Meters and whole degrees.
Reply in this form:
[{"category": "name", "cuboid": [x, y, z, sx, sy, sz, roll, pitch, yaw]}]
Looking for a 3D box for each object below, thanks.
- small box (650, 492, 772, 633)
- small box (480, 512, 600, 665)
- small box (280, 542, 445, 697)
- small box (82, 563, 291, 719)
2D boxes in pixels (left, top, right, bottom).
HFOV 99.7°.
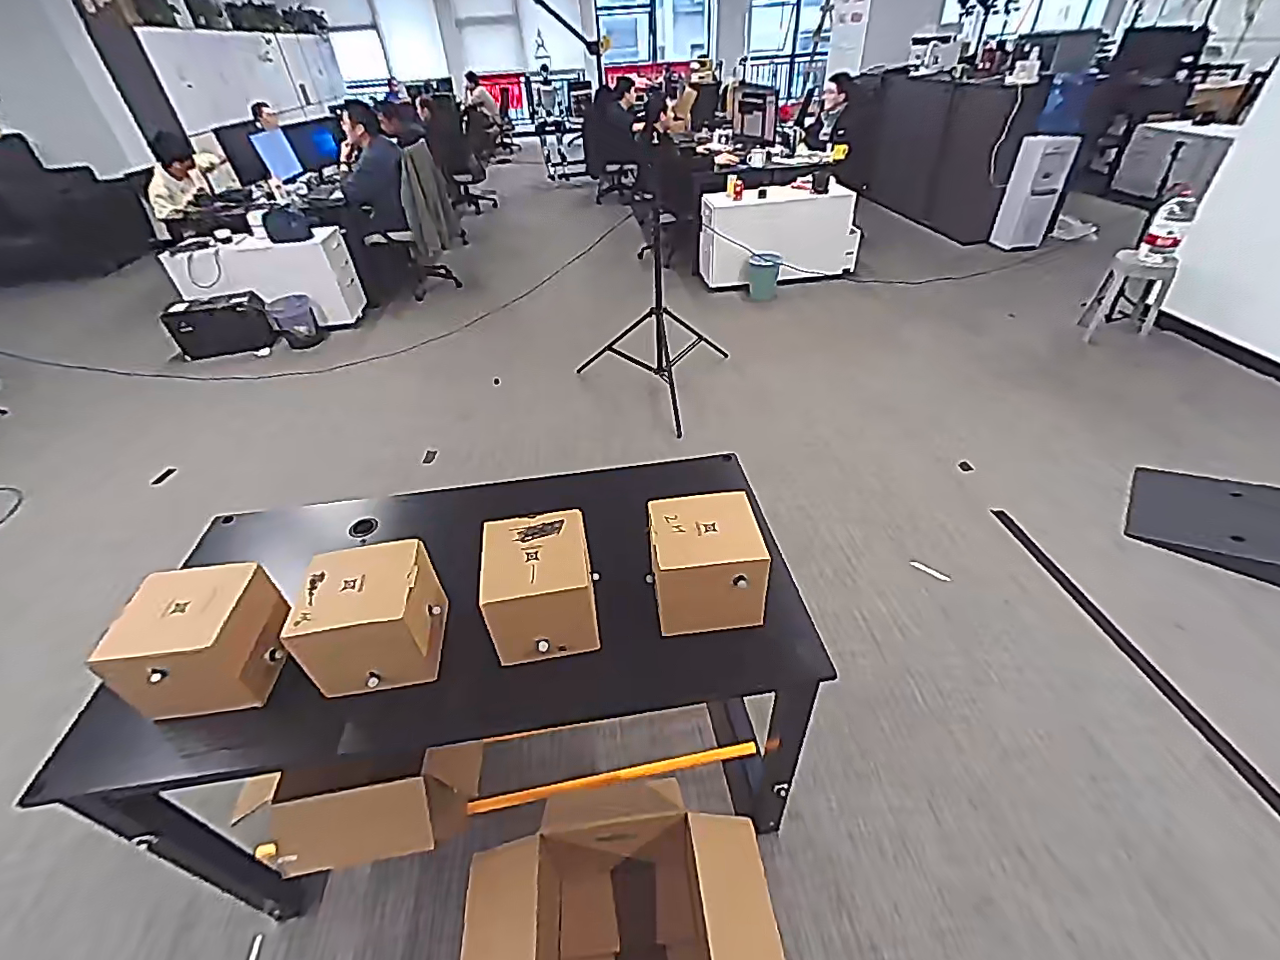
[{"category": "small box", "cuboid": [0.113, 0.142, 0.931, 0.179, 0.176, 0.168, -6, 38, -2]}, {"category": "small box", "cuboid": [-0.163, 0.180, 0.911, 0.168, 0.176, 0.179, -9, 40, -5]}, {"category": "small box", "cuboid": [-0.430, 0.226, 0.877, 0.179, 0.176, 0.168, -8, 39, -6]}, {"category": "small box", "cuboid": [-0.691, 0.258, 0.861, 0.179, 0.176, 0.168, -6, 40, -4]}]
